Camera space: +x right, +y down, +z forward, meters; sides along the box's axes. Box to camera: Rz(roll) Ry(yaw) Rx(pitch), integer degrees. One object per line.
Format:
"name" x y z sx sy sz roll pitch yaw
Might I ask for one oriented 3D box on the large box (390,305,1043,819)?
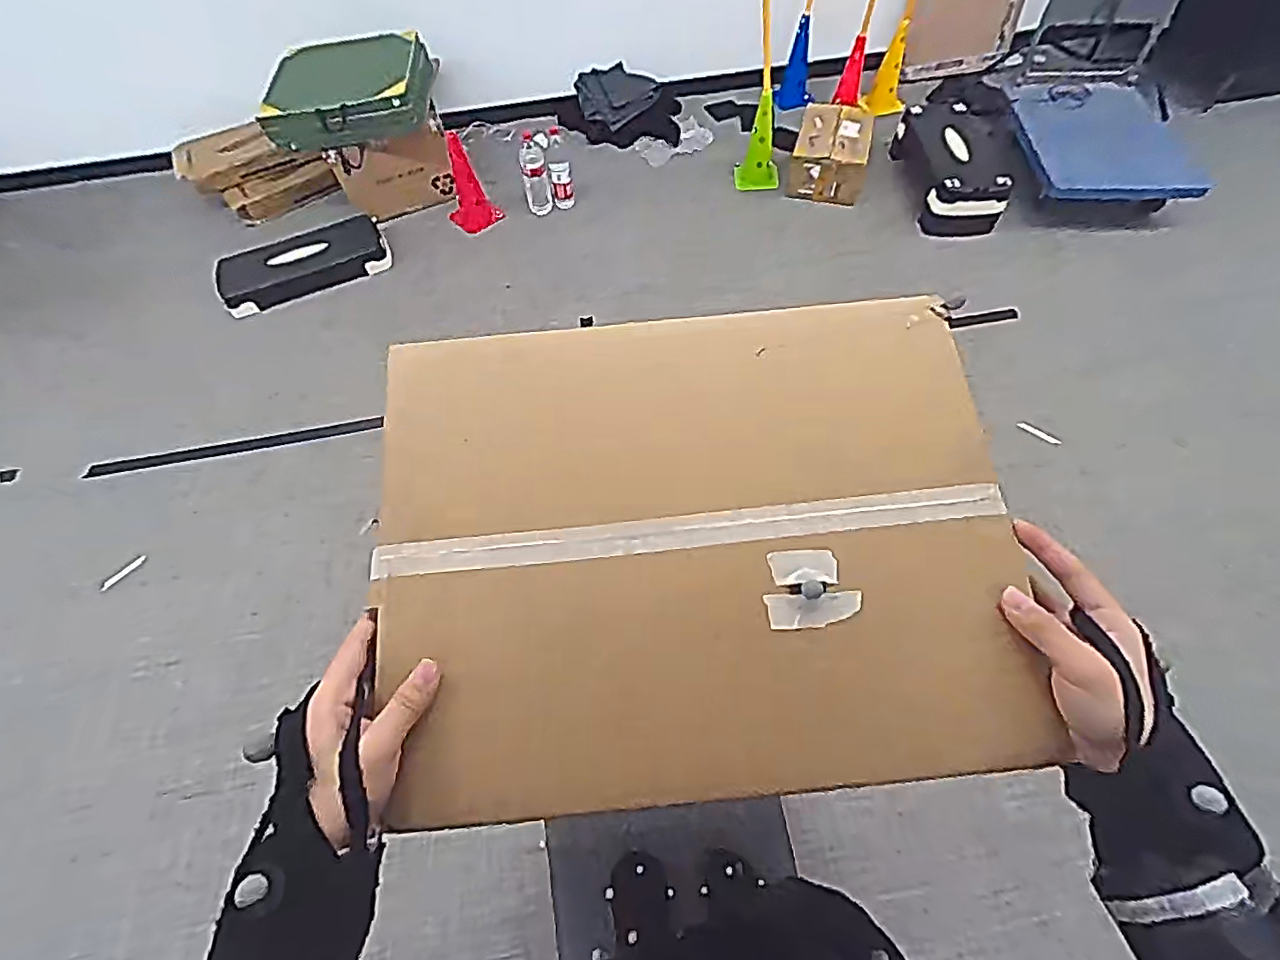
"large box" 0.033 0.076 0.507 0.408 0.320 0.320 -6 74 -1
